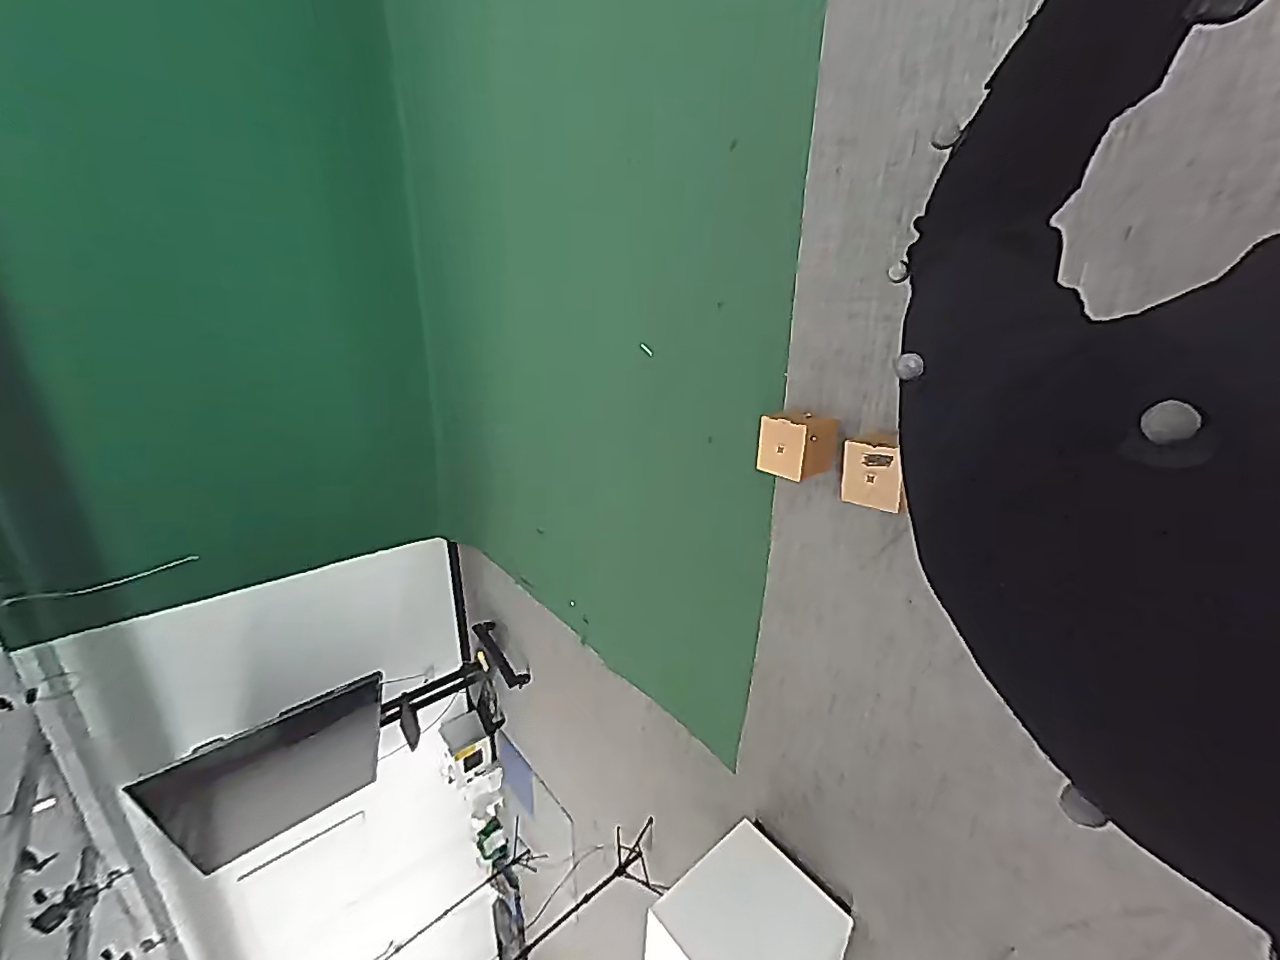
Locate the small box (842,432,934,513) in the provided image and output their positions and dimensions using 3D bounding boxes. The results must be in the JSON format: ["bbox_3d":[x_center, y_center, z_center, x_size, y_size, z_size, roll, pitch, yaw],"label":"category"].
[{"bbox_3d":[0.677,-0.029,1.472,0.168,0.176,0.179,18,115,48],"label":"small box"}]

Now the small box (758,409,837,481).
[{"bbox_3d":[0.490,-0.115,1.680,0.168,0.176,0.179,22,118,45],"label":"small box"}]
